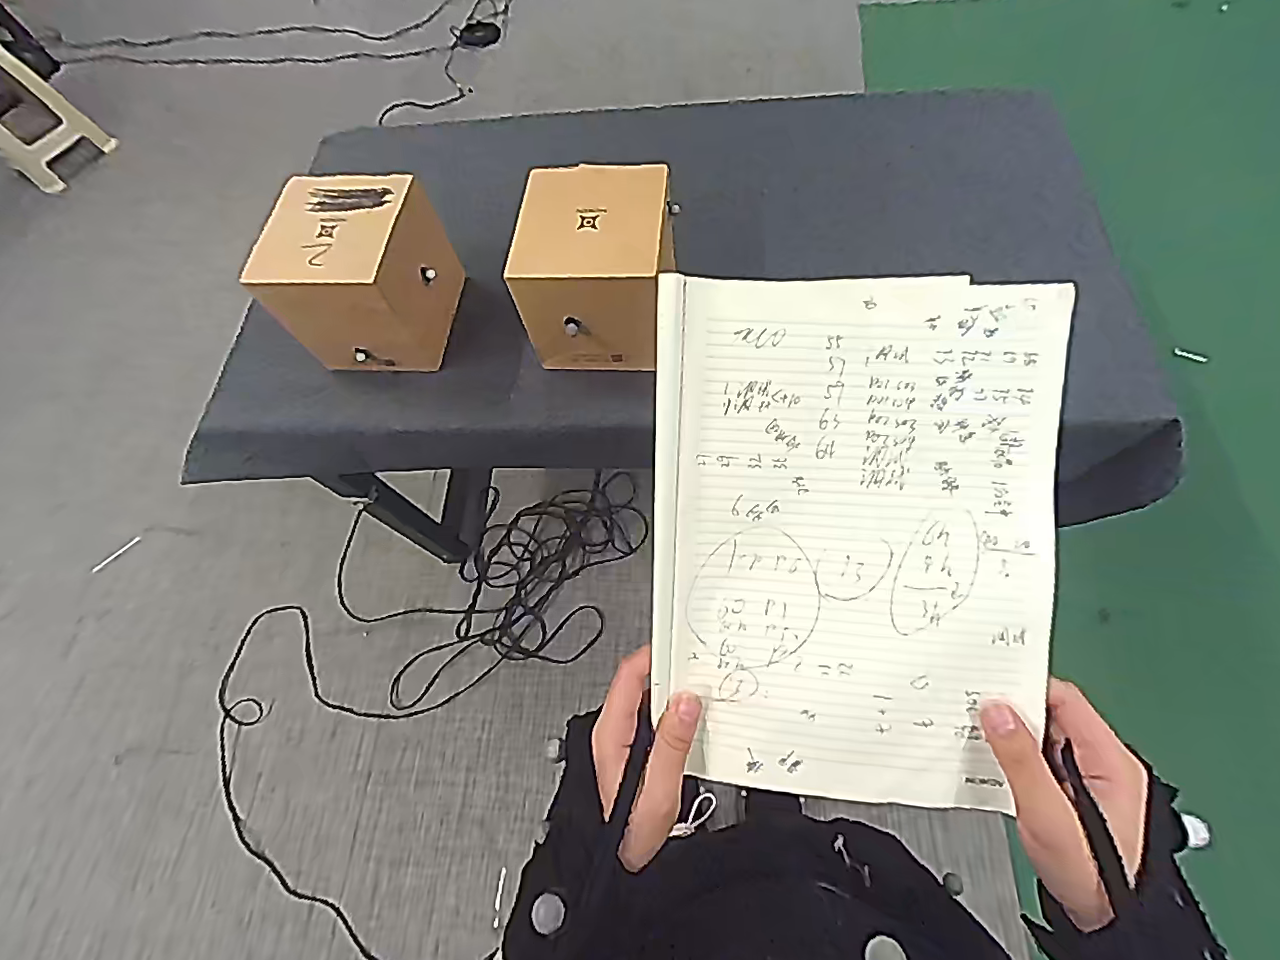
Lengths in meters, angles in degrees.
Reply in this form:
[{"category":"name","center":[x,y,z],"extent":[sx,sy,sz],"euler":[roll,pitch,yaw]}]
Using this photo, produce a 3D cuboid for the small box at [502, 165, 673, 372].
[{"category":"small box","center":[-0.049,-0.248,0.663],"extent":[0.168,0.176,0.179],"euler":[2,65,8]}]
